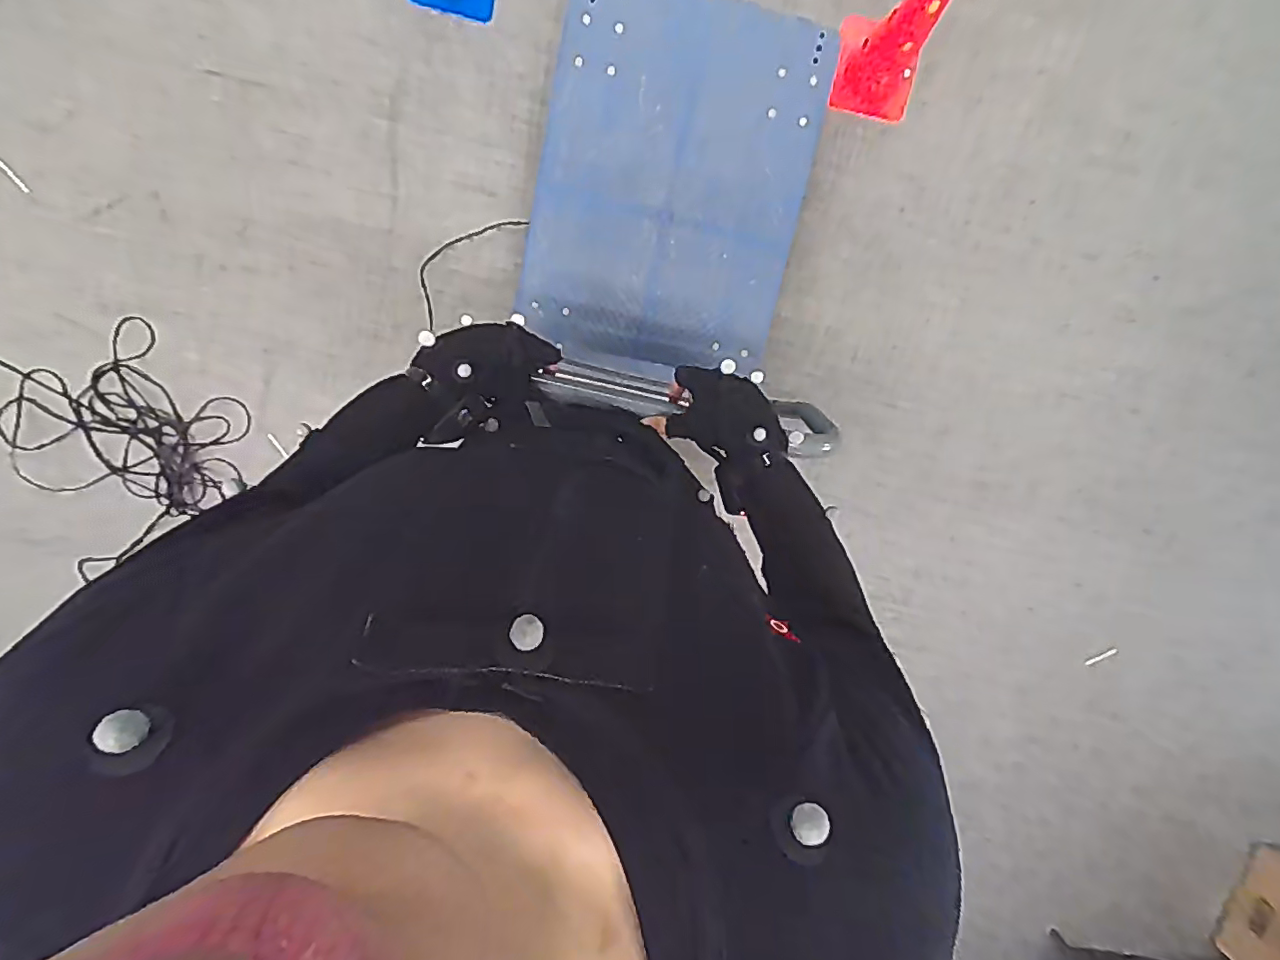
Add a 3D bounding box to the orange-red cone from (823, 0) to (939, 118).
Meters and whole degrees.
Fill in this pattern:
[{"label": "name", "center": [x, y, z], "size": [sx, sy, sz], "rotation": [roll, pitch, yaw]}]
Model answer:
[{"label": "orange-red cone", "center": [0.557, -0.968, 1.141], "size": [0.199, 0.360, 0.198], "rotation": [12, 100, -2]}]
